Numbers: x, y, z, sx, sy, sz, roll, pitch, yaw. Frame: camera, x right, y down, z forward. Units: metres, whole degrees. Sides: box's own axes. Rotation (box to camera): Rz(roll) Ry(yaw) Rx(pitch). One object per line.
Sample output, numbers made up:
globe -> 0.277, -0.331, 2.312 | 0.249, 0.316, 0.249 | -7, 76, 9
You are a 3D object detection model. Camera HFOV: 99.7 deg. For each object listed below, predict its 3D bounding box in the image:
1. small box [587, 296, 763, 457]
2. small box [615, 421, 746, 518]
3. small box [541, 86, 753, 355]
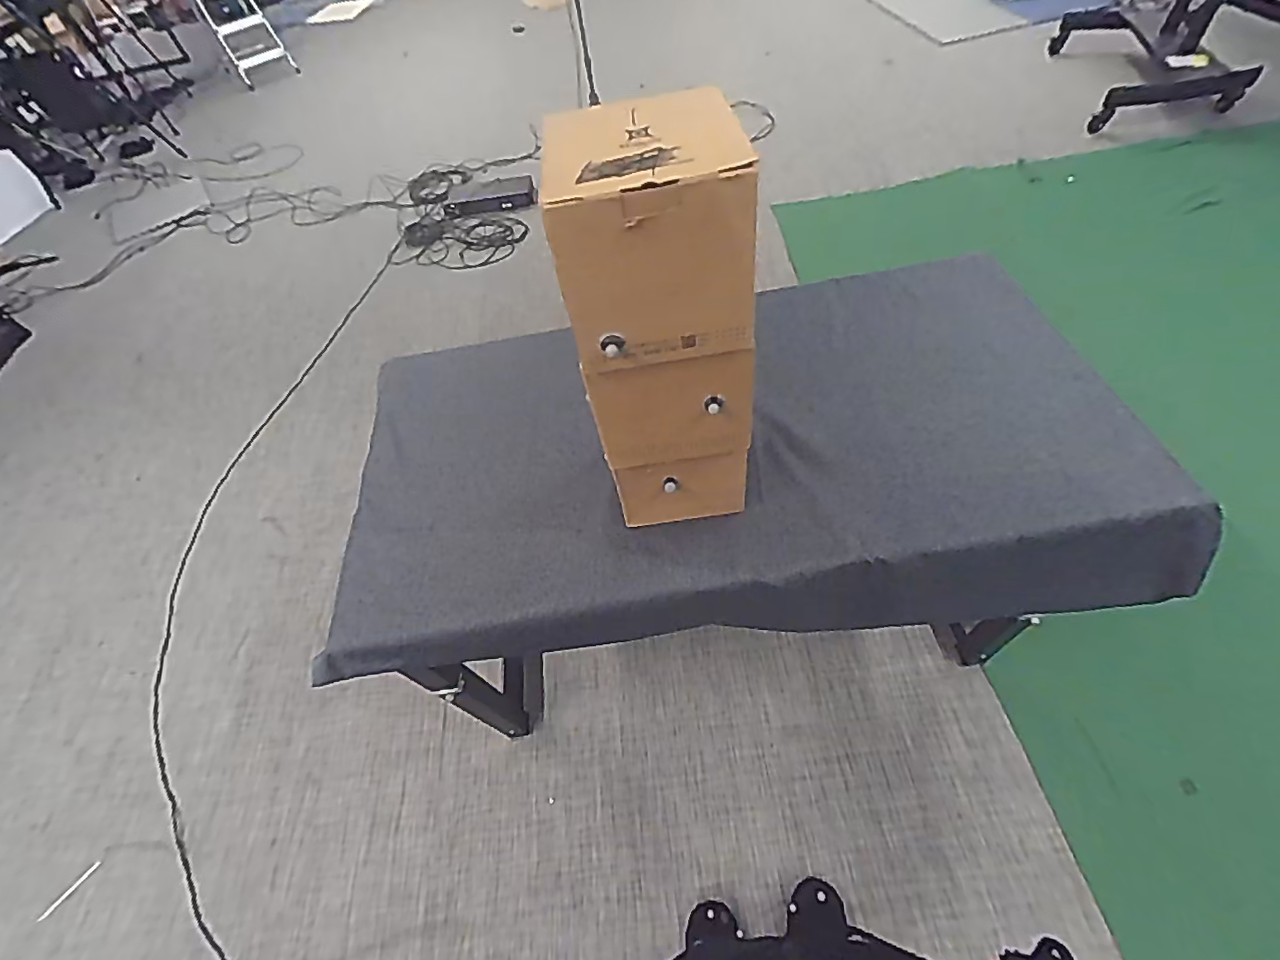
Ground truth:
small box -> 0.031, -0.149, 0.634 | 0.179, 0.176, 0.168 | -11, 54, 0
small box -> 0.050, -0.061, 0.792 | 0.179, 0.176, 0.168 | -10, 53, 0
small box -> 0.009, -0.234, 0.515 | 0.168, 0.176, 0.179 | -8, 53, 2
